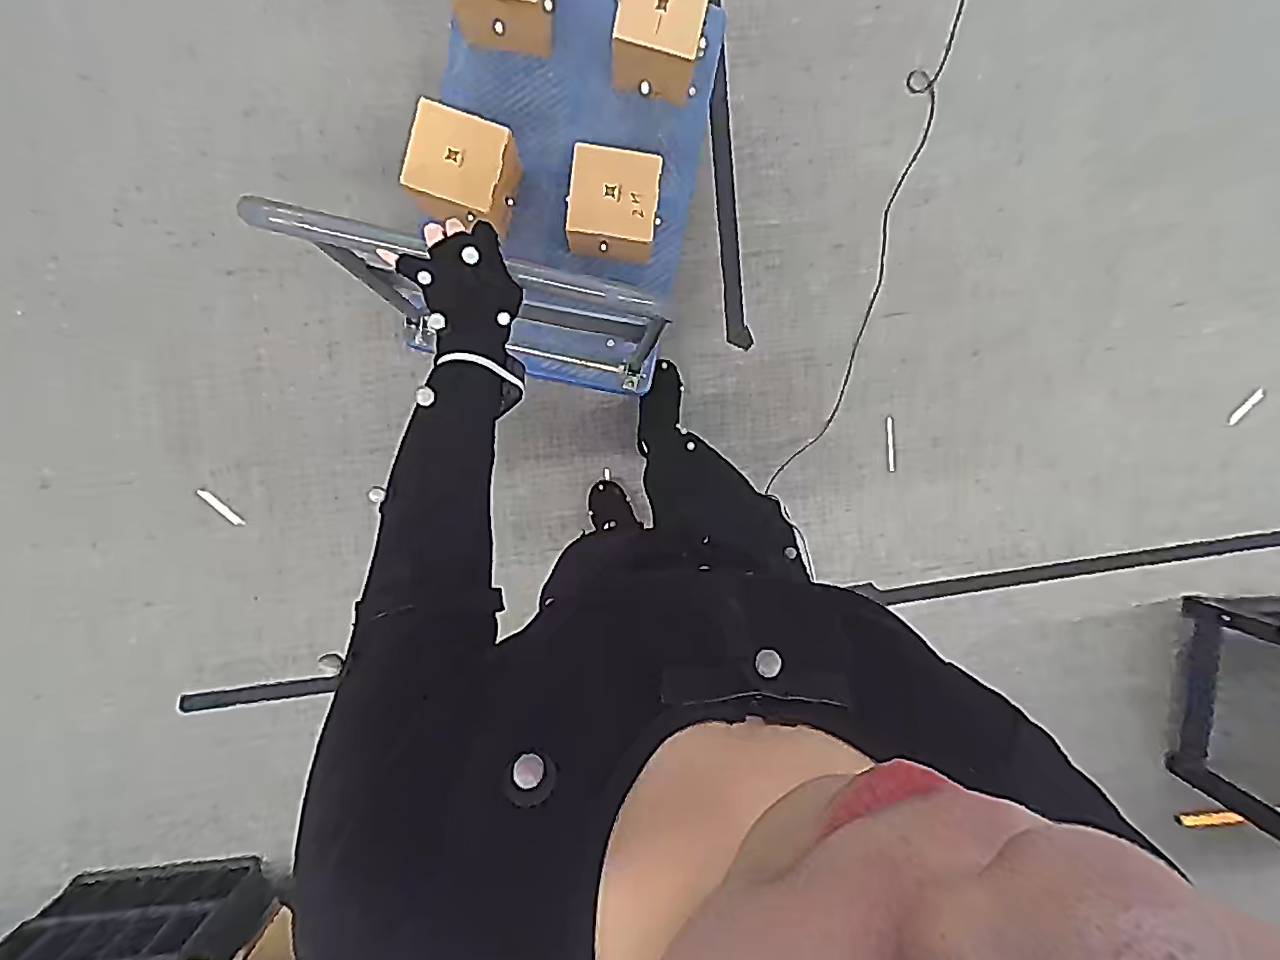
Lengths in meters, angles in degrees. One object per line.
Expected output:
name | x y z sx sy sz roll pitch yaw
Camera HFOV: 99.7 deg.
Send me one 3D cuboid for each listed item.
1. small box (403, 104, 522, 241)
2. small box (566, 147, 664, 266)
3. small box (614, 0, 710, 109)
small box | -0.356 -0.619 1.113 0.179 0.176 0.168 16 95 -7
small box | -0.054 -0.565 1.139 0.179 0.176 0.168 7 96 -5
small box | 0.041 -0.913 1.106 0.168 0.176 0.179 12 97 -5
